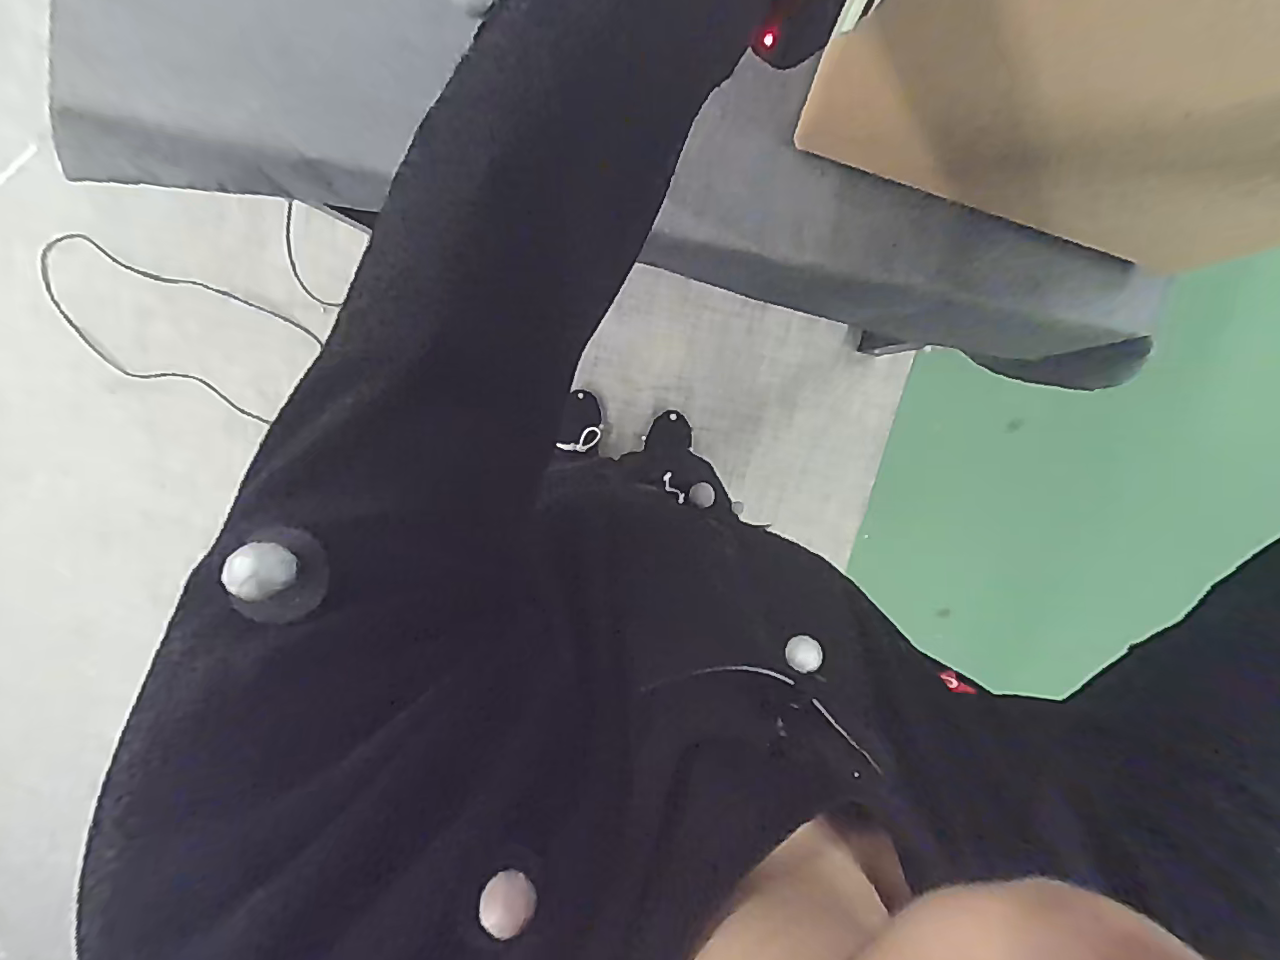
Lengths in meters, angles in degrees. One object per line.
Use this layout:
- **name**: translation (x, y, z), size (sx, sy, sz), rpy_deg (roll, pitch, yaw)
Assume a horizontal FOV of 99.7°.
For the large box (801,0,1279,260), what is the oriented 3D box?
- **large box**: translation (0.378, -0.398, 0.365), size (0.408, 0.320, 0.320), rpy_deg (20, 99, 2)
